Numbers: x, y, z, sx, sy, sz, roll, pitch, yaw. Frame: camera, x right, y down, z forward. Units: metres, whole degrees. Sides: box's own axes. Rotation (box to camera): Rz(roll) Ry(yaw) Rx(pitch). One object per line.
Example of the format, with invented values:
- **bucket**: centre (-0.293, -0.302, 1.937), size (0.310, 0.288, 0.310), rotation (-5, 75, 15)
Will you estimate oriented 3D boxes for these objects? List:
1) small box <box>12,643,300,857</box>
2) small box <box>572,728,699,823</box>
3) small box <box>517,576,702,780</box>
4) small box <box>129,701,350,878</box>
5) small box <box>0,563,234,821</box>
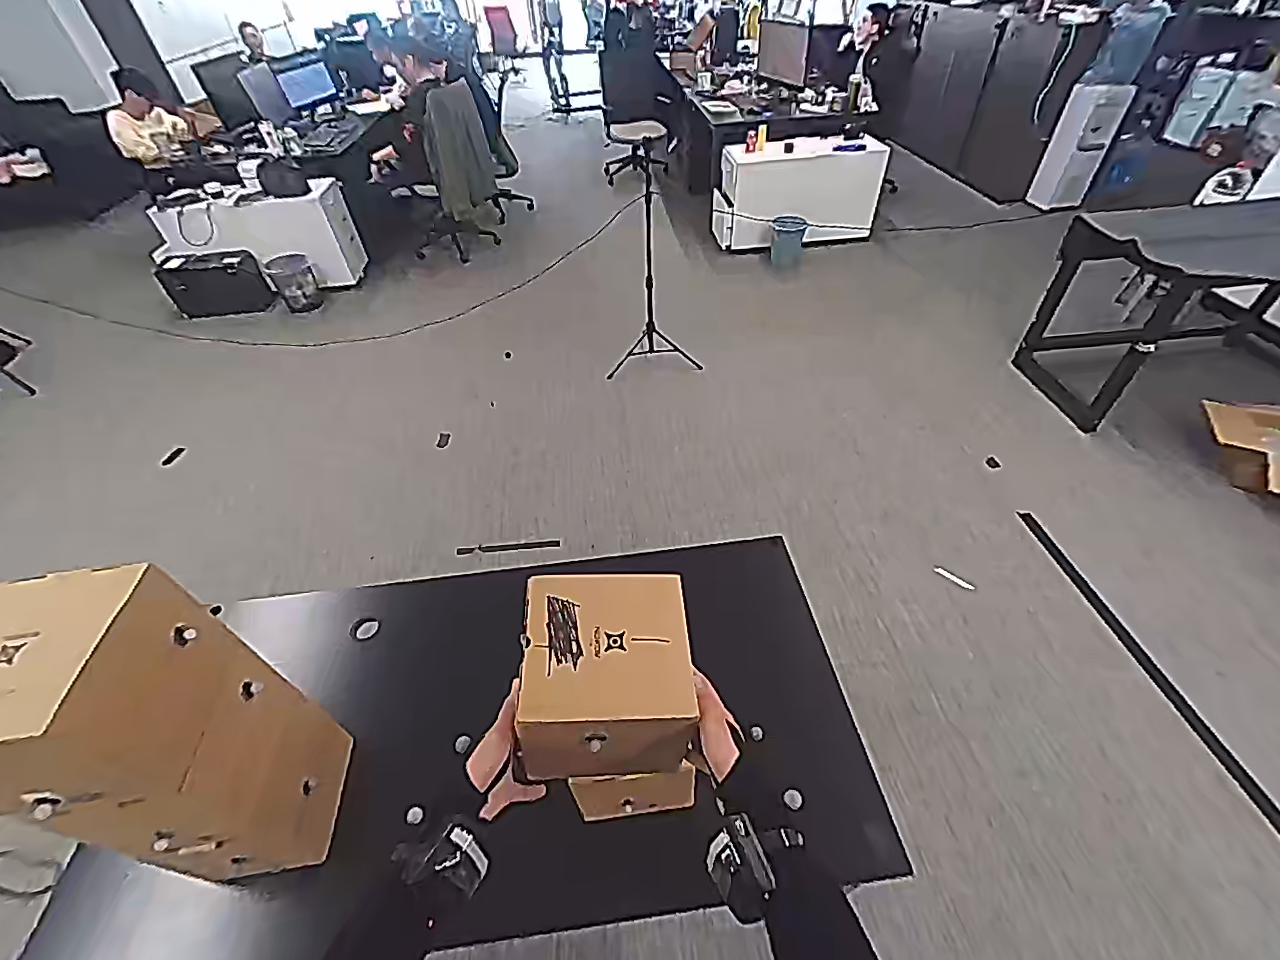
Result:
- **small box**: centre (-0.550, 0.326, 0.655), size (0.168, 0.176, 0.179), rotation (-8, 45, -3)
- **small box**: centre (-0.011, 0.380, 0.802), size (0.168, 0.176, 0.179), rotation (-7, 45, -3)
- **small box**: centre (-0.036, 0.225, 0.611), size (0.179, 0.176, 0.168), rotation (1, 45, -6)
- **small box**: centre (-0.543, 0.444, 0.770), size (0.168, 0.176, 0.179), rotation (-7, 45, -4)
- **small box**: centre (-0.557, 0.210, 0.540), size (0.168, 0.176, 0.179), rotation (-8, 45, -3)
